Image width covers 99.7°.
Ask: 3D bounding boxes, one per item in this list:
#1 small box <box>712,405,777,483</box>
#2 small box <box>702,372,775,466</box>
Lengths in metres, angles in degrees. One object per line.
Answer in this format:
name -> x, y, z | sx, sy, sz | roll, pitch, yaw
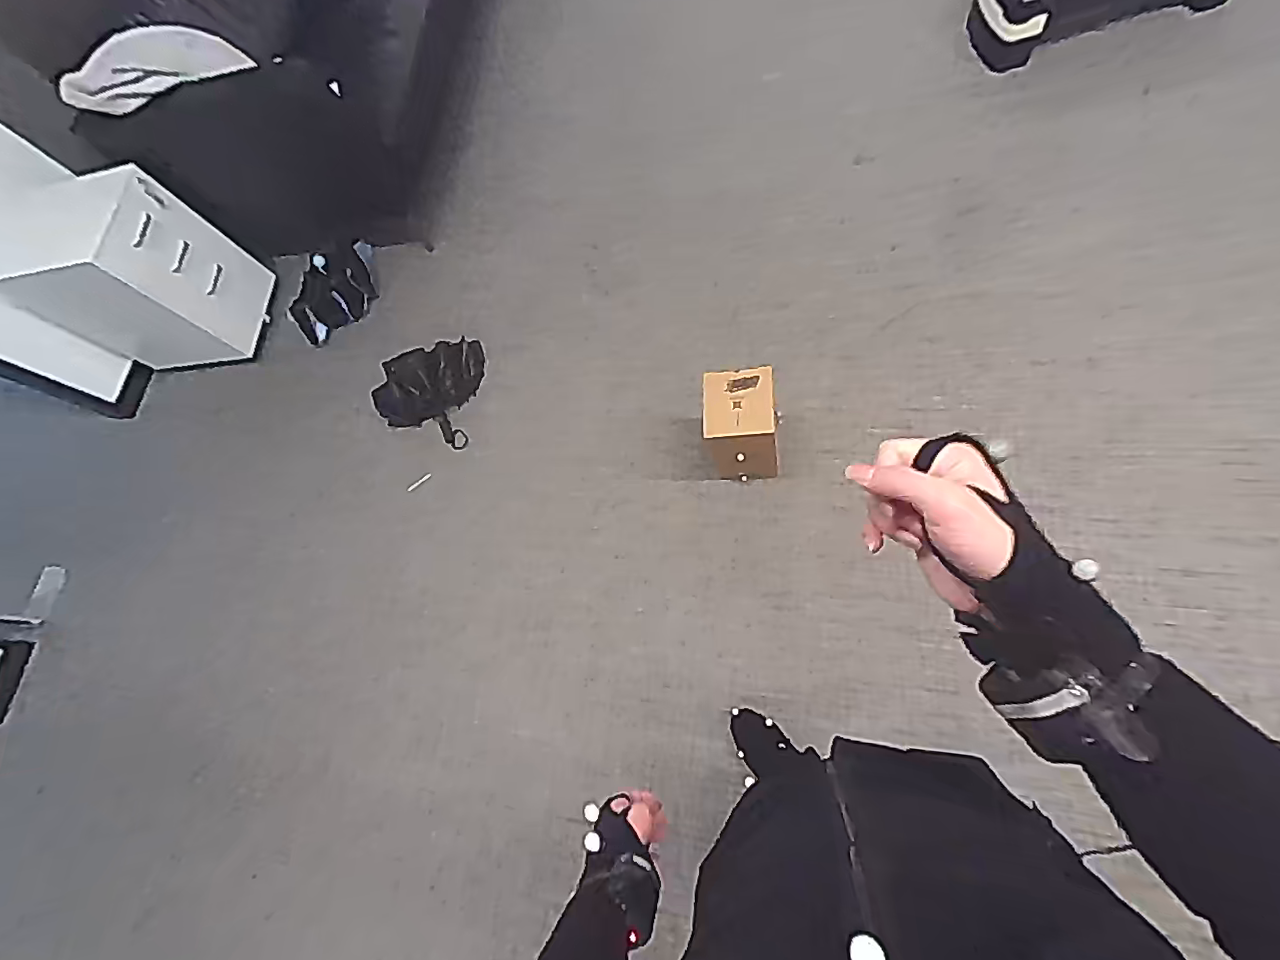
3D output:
small box -> 0.292, -0.100, 1.499 | 0.168, 0.176, 0.179 | -2, 72, 15
small box -> 0.249, -0.147, 1.346 | 0.168, 0.176, 0.179 | -2, 71, 15
